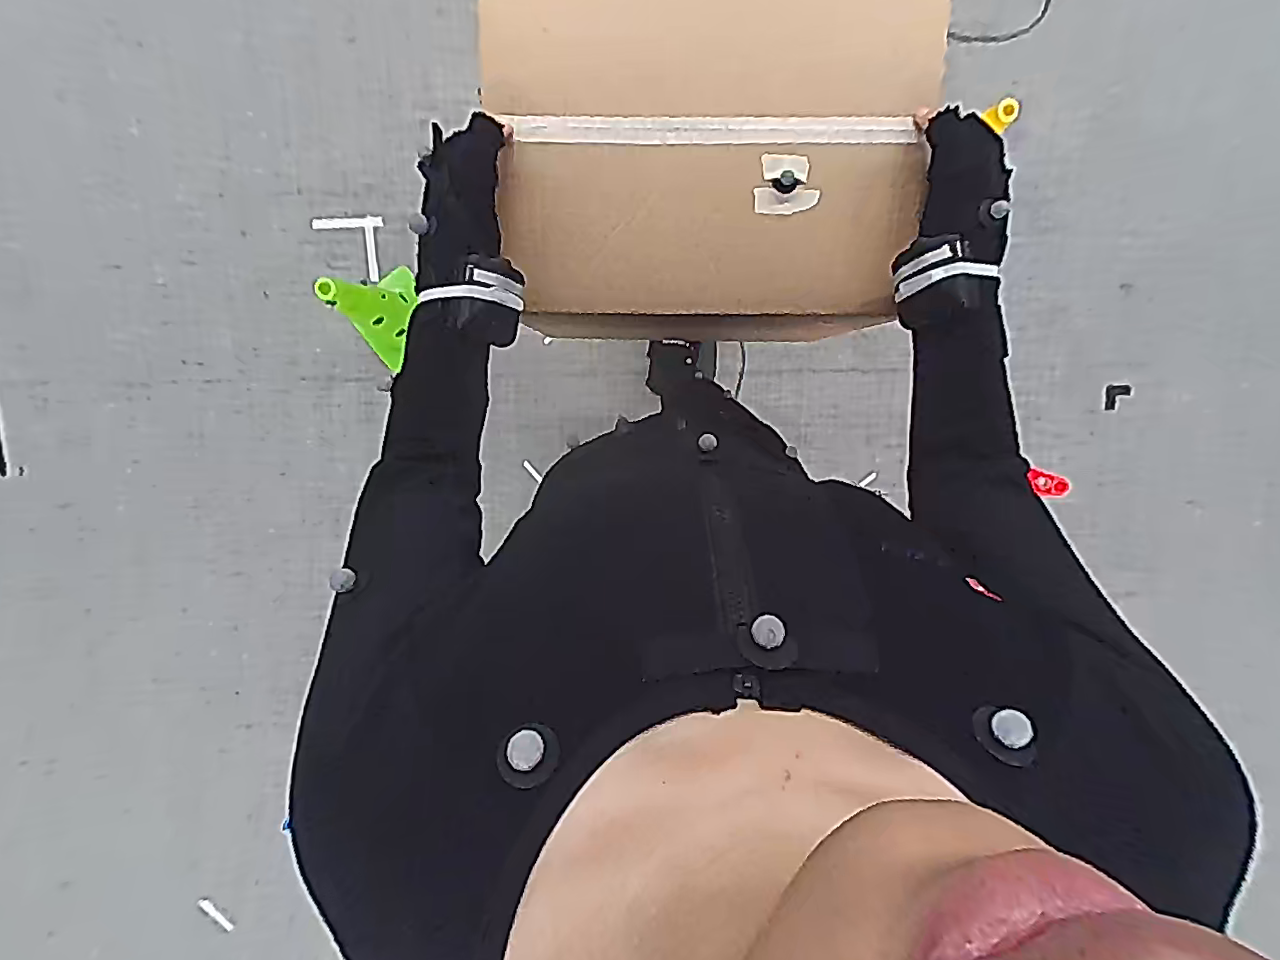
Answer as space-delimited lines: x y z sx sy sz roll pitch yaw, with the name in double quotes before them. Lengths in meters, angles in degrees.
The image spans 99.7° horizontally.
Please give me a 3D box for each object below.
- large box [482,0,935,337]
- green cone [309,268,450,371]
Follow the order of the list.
"large box" 0.058 -0.344 0.634 0.408 0.320 0.320 0 100 -1
"green cone" -0.613 -0.387 1.210 0.202 0.368 0.200 -38 96 4
